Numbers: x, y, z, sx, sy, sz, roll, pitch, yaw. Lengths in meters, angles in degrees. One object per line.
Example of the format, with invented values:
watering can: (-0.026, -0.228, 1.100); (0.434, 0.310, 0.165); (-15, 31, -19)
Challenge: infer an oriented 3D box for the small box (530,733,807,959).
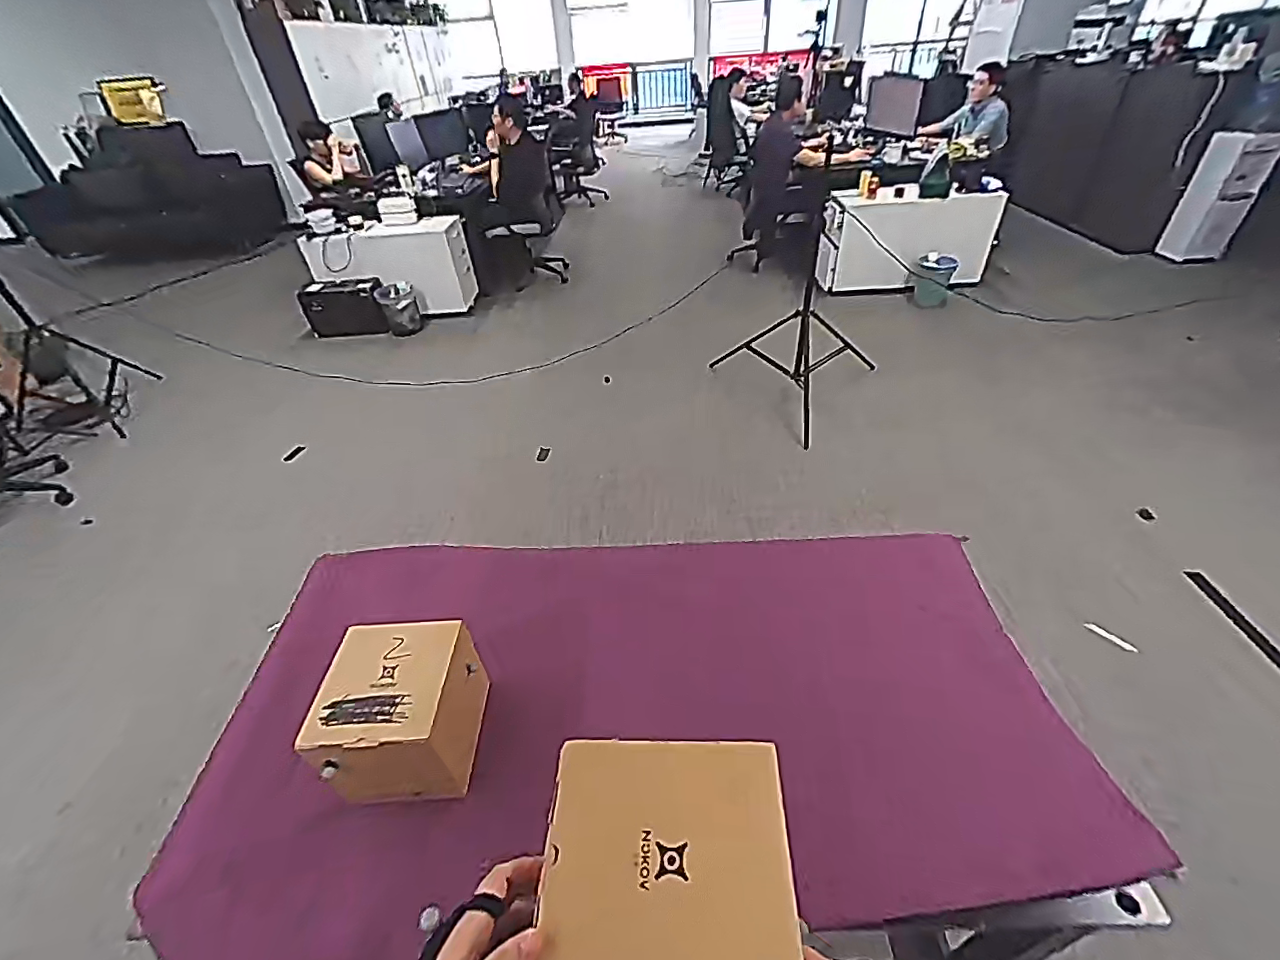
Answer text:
small box: (0.026, 0.322, 0.432); (0.179, 0.176, 0.168); (-3, 40, 6)
